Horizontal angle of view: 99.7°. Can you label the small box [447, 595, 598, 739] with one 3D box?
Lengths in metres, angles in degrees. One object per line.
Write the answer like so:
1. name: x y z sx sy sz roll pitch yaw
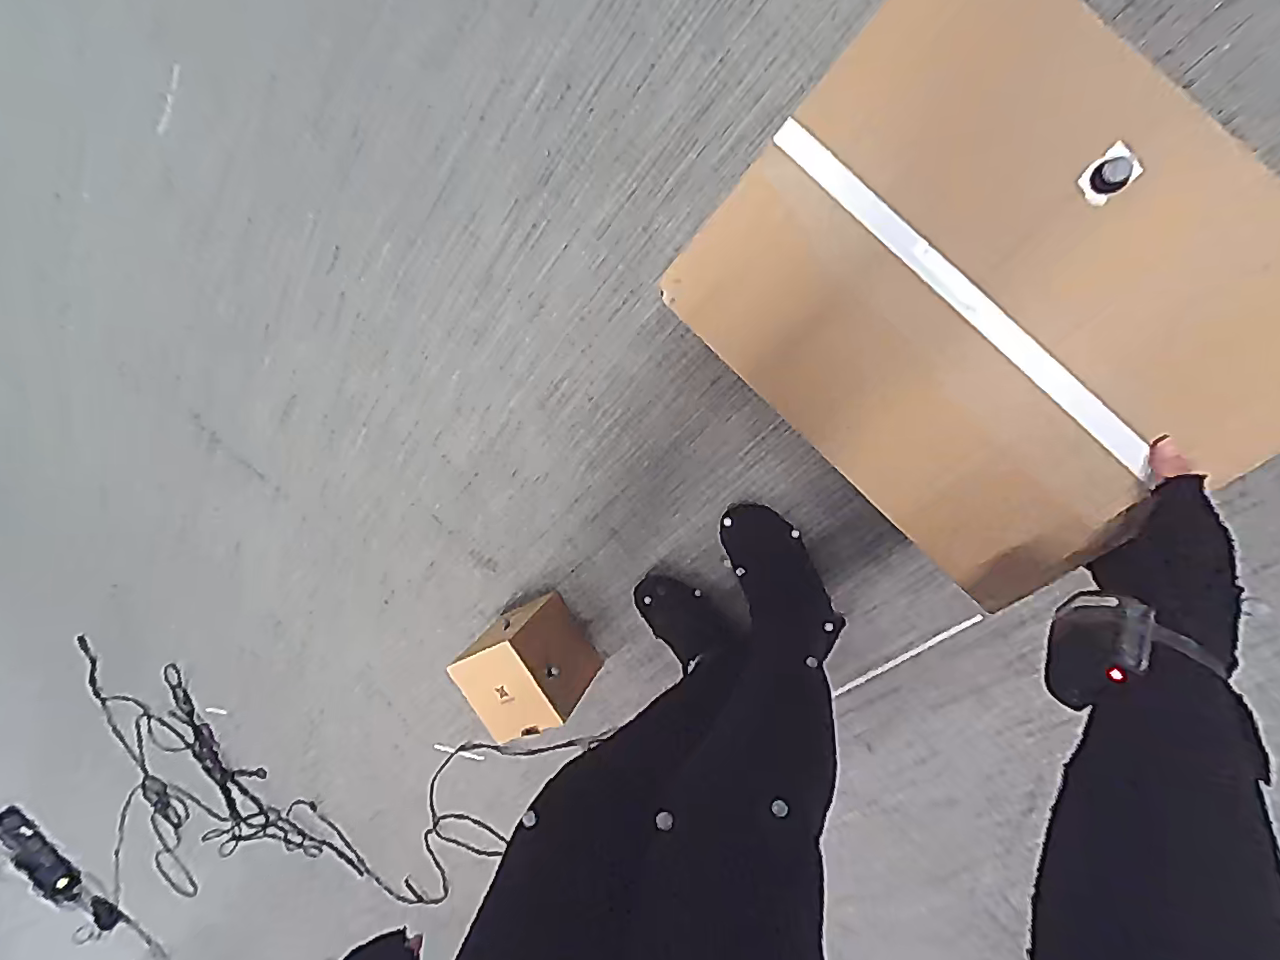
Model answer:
1. small box: -0.209 0.335 1.002 0.168 0.176 0.179 -29 98 27
